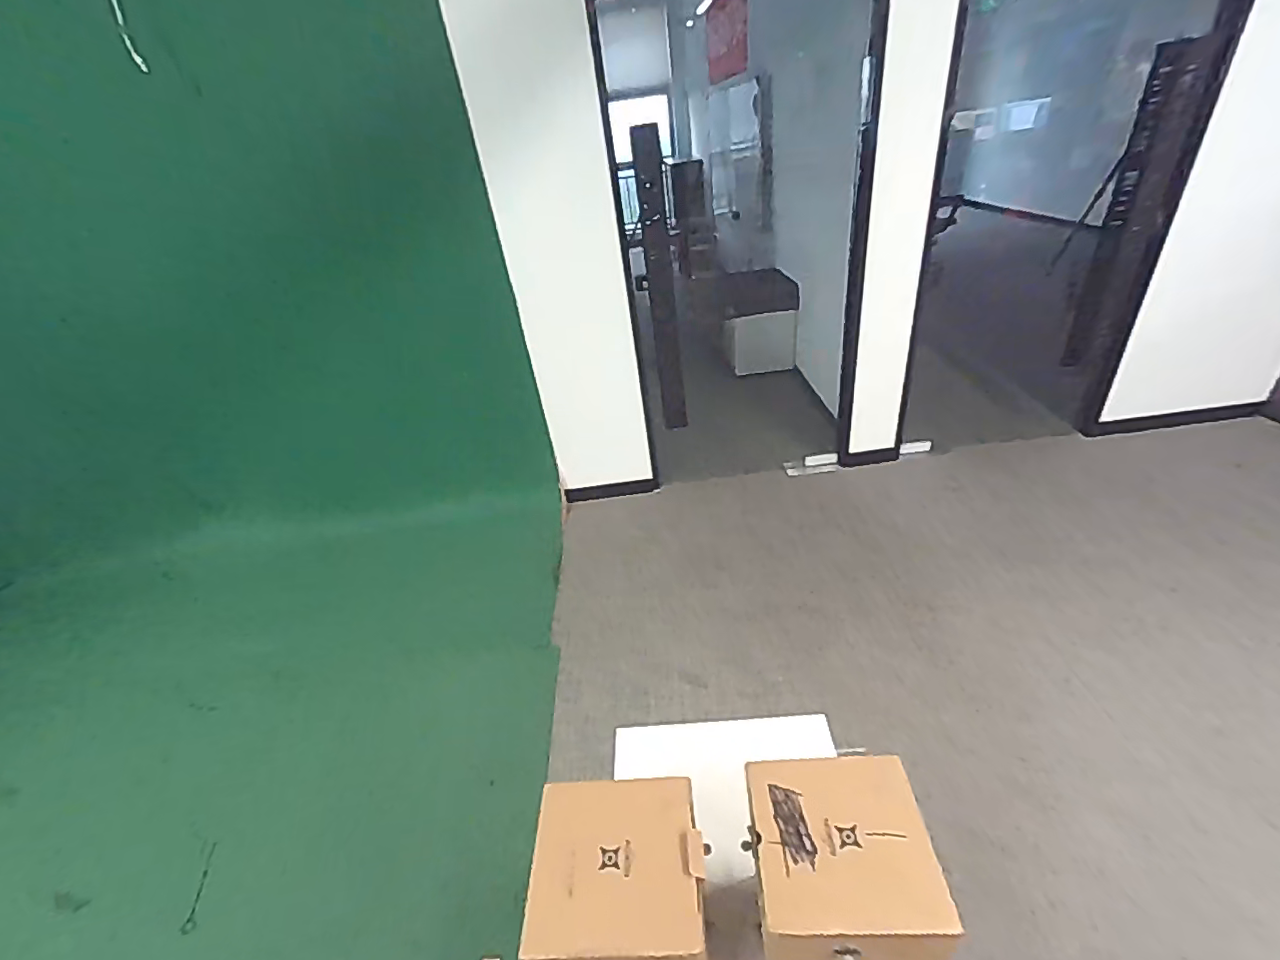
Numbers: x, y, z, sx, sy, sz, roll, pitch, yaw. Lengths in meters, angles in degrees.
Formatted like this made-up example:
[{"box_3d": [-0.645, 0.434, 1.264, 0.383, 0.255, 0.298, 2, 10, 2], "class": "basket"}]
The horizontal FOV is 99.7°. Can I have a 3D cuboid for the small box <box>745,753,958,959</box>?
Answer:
[{"box_3d": [0.216, 0.429, 0.598, 0.179, 0.176, 0.168, -5, 33, 7], "class": "small box"}]

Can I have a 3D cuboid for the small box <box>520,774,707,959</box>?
[{"box_3d": [-0.017, 0.460, 0.609, 0.179, 0.176, 0.168, -6, 32, 4], "class": "small box"}]
